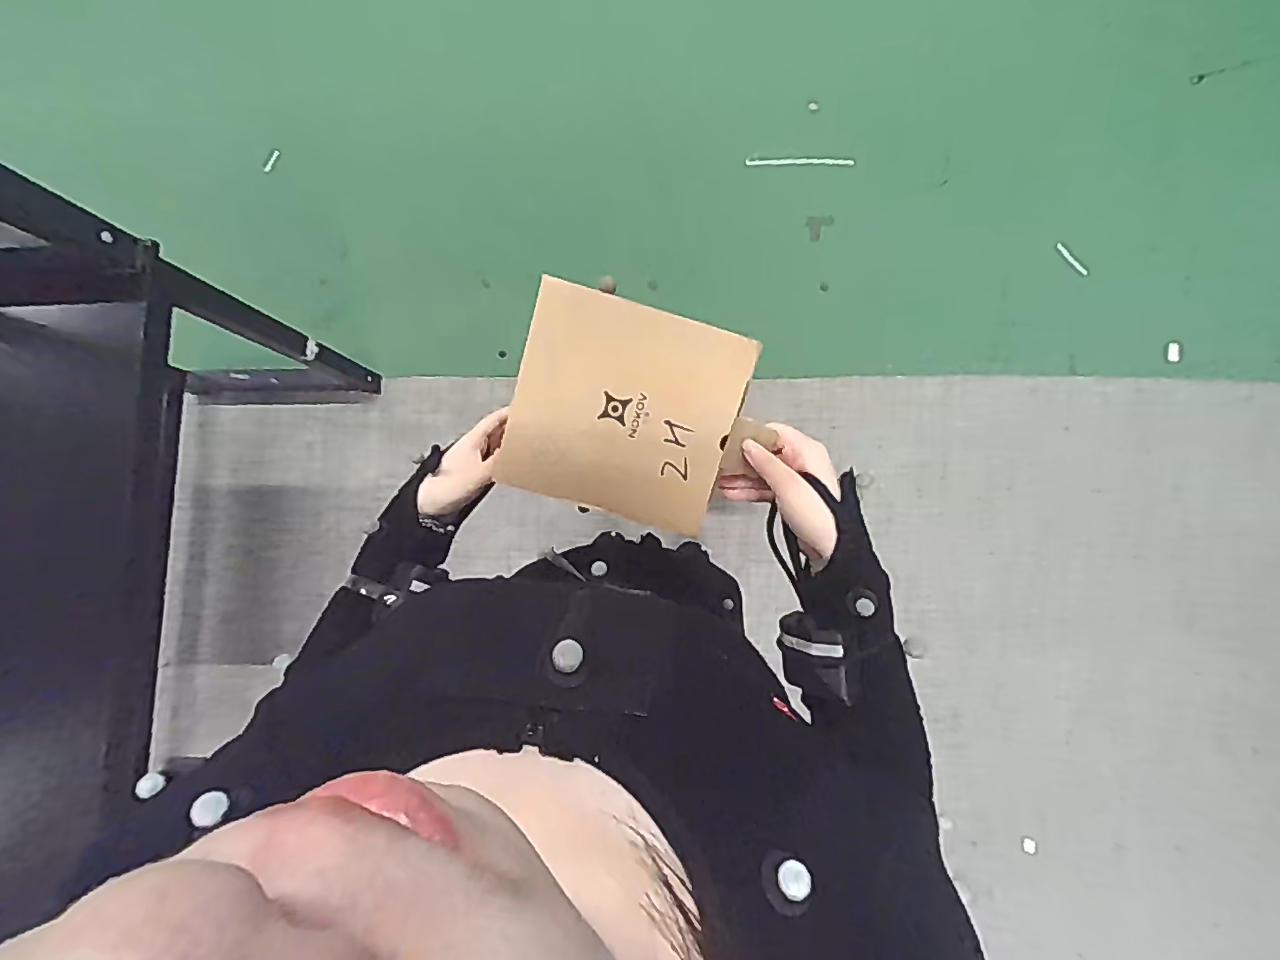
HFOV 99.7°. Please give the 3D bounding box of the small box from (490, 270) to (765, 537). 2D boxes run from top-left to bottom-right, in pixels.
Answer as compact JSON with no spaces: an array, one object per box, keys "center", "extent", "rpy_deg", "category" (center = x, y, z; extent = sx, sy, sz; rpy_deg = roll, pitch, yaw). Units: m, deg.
[{"center":[-0.014,-0.070,0.489],"extent":[0.179,0.176,0.168],"rpy_deg":[16,102,-5],"category":"small box"}]
